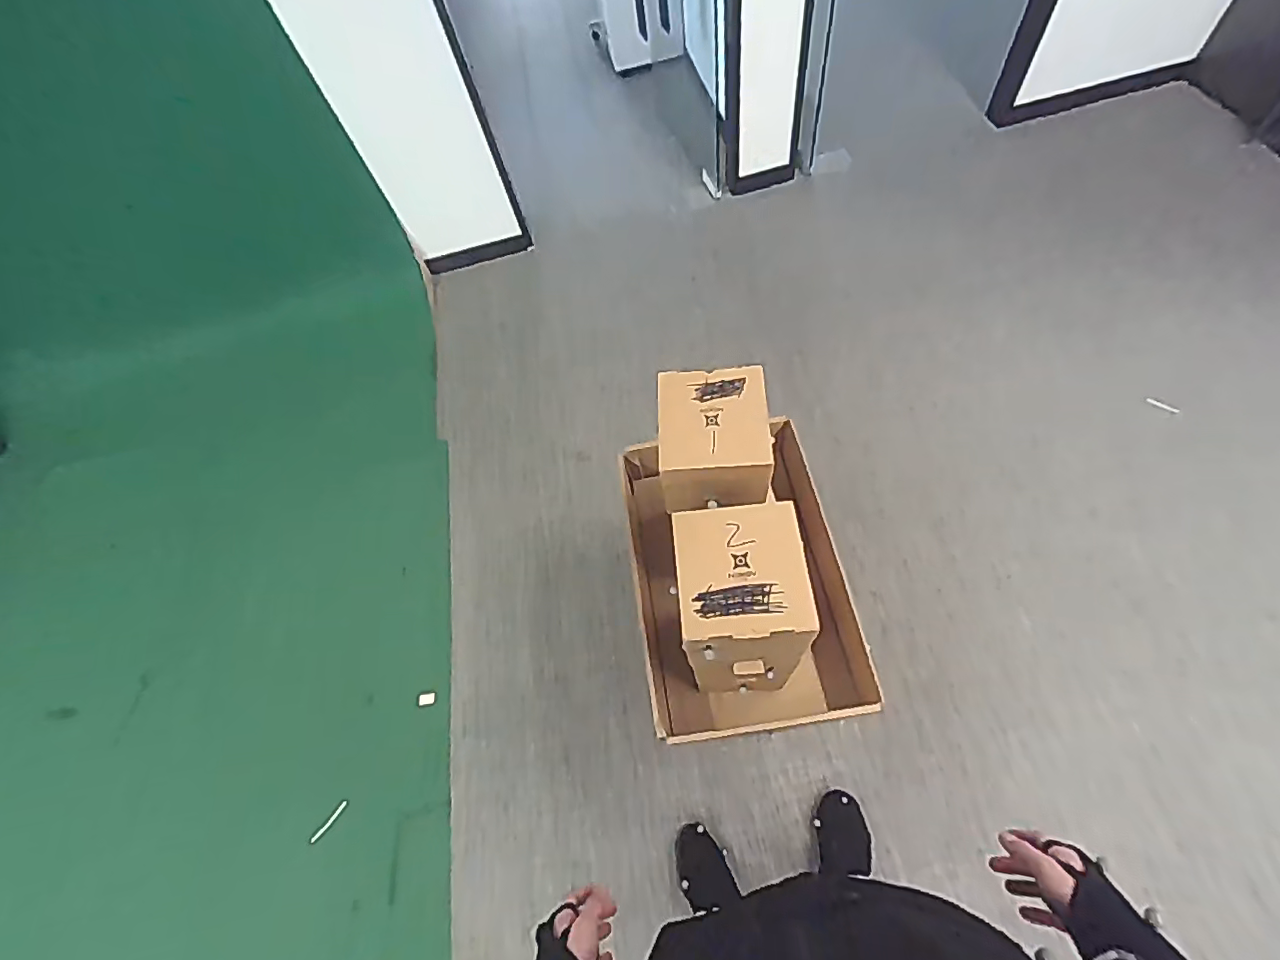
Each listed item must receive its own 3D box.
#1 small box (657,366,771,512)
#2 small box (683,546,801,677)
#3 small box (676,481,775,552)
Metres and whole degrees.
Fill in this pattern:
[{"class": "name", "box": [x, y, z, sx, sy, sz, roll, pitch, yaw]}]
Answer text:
[{"class": "small box", "box": [0.117, -0.061, 0.879, 0.168, 0.176, 0.179, -3, 64, 7]}, {"class": "small box", "box": [0.164, 0.226, 0.900, 0.168, 0.176, 0.179, -5, 60, 5]}, {"class": "small box", "box": [0.146, 0.017, 1.021, 0.168, 0.176, 0.179, -11, 63, 3]}]
